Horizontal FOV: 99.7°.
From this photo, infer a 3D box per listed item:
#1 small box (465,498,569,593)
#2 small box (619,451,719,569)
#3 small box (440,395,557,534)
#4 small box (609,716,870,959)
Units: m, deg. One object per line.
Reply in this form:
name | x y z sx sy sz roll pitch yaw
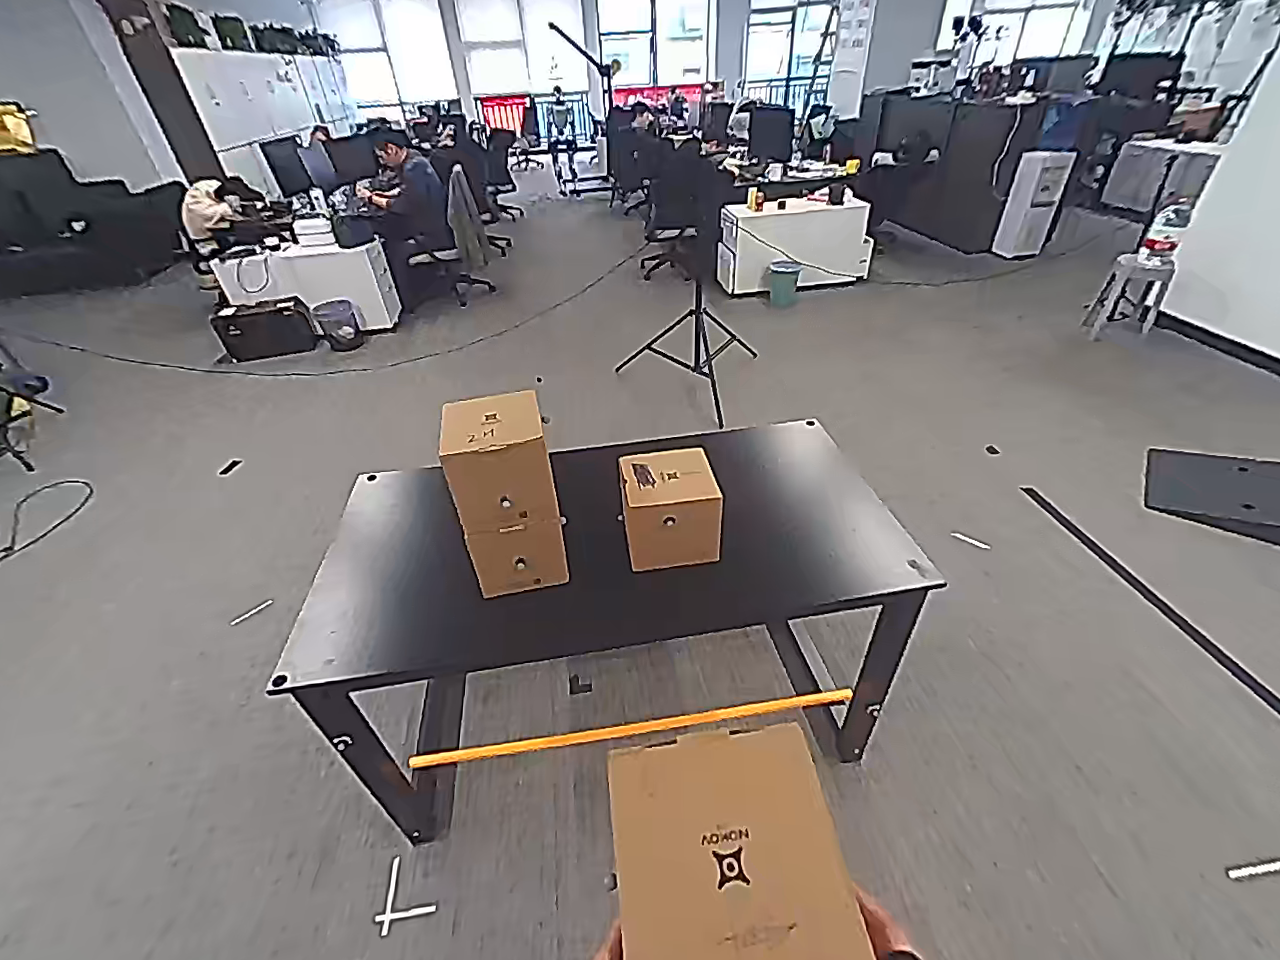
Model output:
small box | -0.239 0.105 1.068 0.168 0.176 0.179 -11 38 -8
small box | 0.057 0.063 1.094 0.179 0.176 0.168 -7 37 -5
small box | -0.248 -0.030 0.971 0.168 0.176 0.179 -11 38 -9
small box | 0.066 0.330 0.462 0.168 0.176 0.179 -8 47 -3
